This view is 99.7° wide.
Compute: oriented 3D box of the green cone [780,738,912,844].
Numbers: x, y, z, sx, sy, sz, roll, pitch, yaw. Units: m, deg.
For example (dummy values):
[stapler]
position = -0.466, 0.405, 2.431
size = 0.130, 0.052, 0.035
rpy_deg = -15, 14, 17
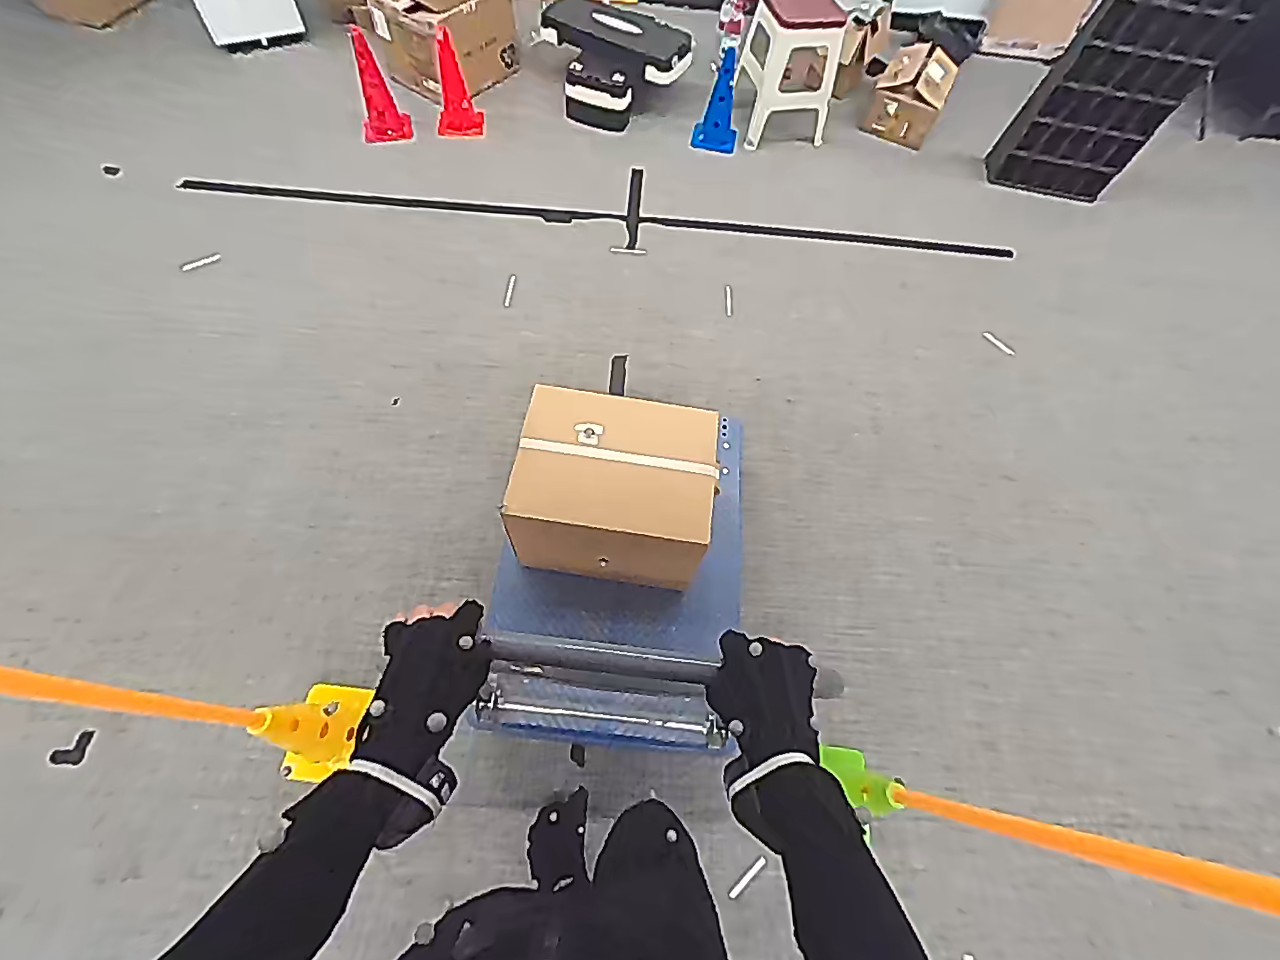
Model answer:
[green cone]
position = 0.444, 0.648, 1.119
size = 0.202, 0.368, 0.200
rpy_deg = 9, 62, -1

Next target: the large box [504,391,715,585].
[large box]
position = -0.056, 0.032, 1.245
size = 0.408, 0.320, 0.320
rpy_deg = 9, 62, 1
